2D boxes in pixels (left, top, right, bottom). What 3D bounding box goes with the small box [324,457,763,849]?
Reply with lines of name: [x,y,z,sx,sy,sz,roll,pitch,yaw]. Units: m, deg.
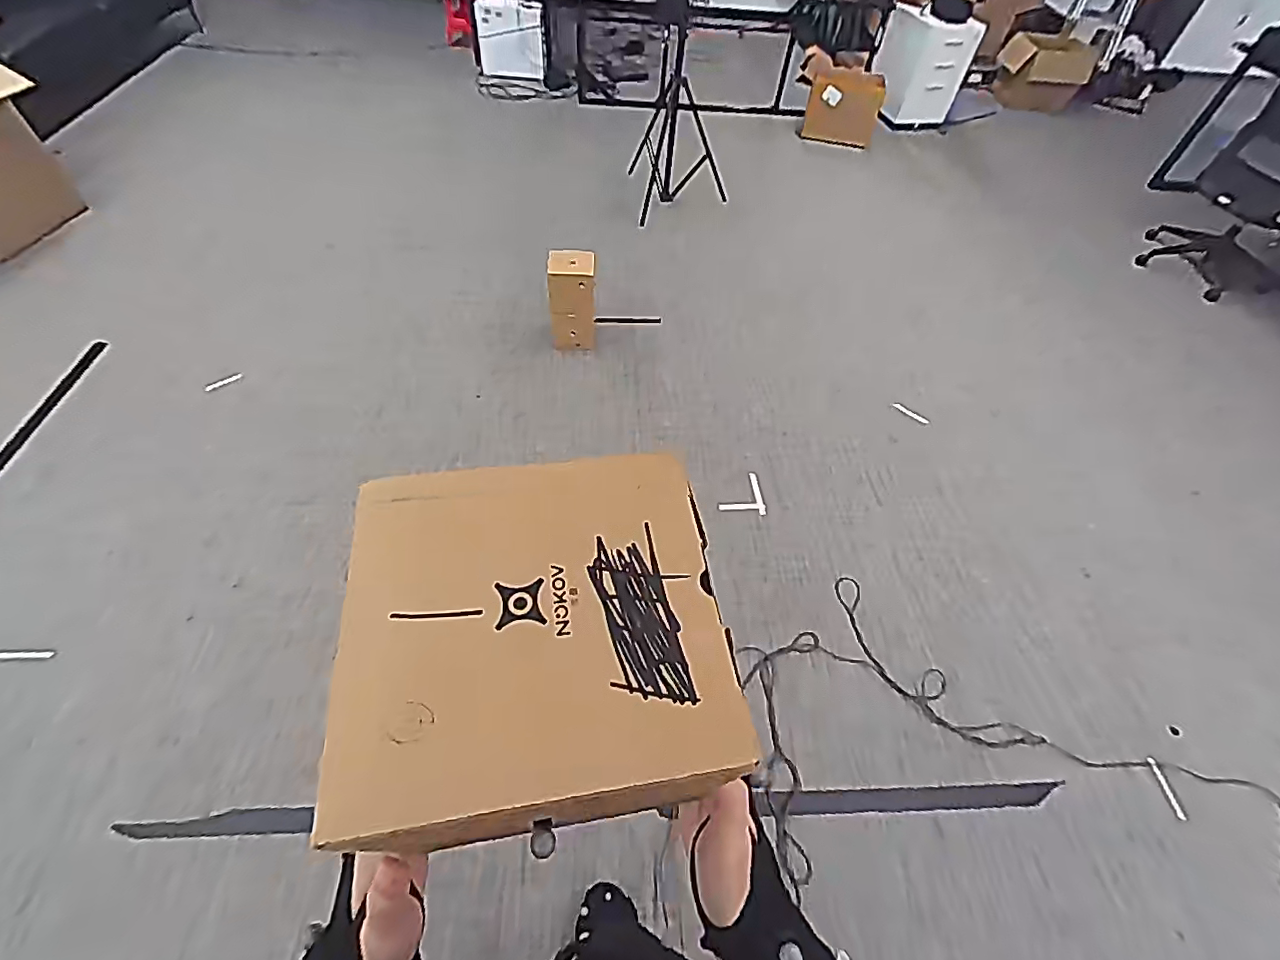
small box: [-0.052,0.106,0.322,0.179,0.176,0.168,-5,56,-10]

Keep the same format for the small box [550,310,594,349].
small box: [-0.275,-0.658,2.222,0.168,0.176,0.179,1,54,-4]

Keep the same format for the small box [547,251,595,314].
small box: [-0.263,-0.761,2.091,0.179,0.176,0.168,0,52,-4]
